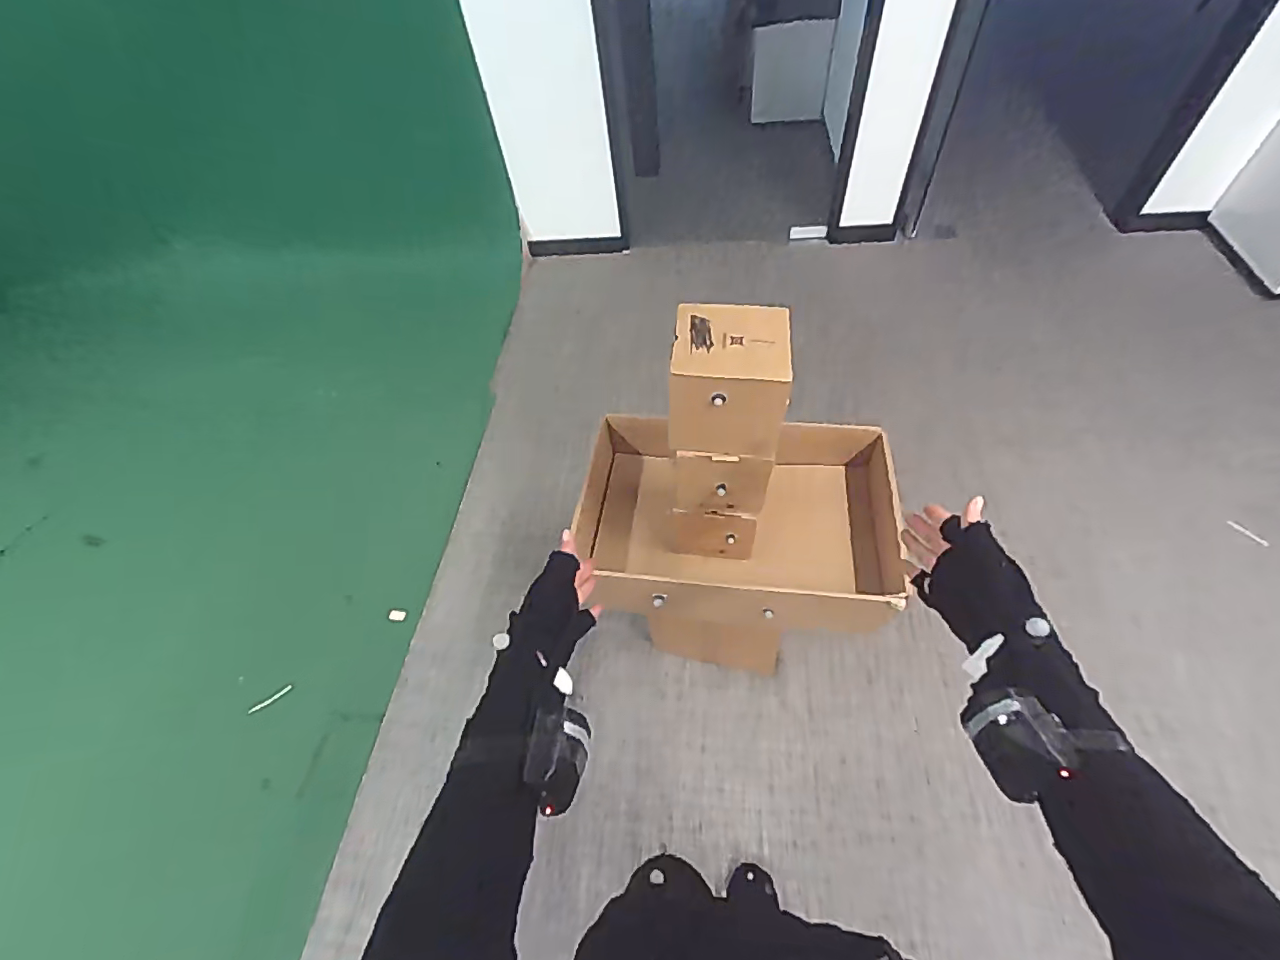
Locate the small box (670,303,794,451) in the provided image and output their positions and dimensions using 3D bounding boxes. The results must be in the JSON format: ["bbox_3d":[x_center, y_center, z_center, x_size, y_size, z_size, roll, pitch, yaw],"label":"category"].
[{"bbox_3d":[0.142,-0.162,0.867,0.179,0.176,0.168,5,55,6],"label":"small box"}]

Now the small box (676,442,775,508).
[{"bbox_3d":[0.154,-0.062,0.998,0.168,0.176,0.179,3,55,5],"label":"small box"}]

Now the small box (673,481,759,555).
[{"bbox_3d":[0.159,0.039,1.127,0.168,0.176,0.179,5,53,7],"label":"small box"}]
